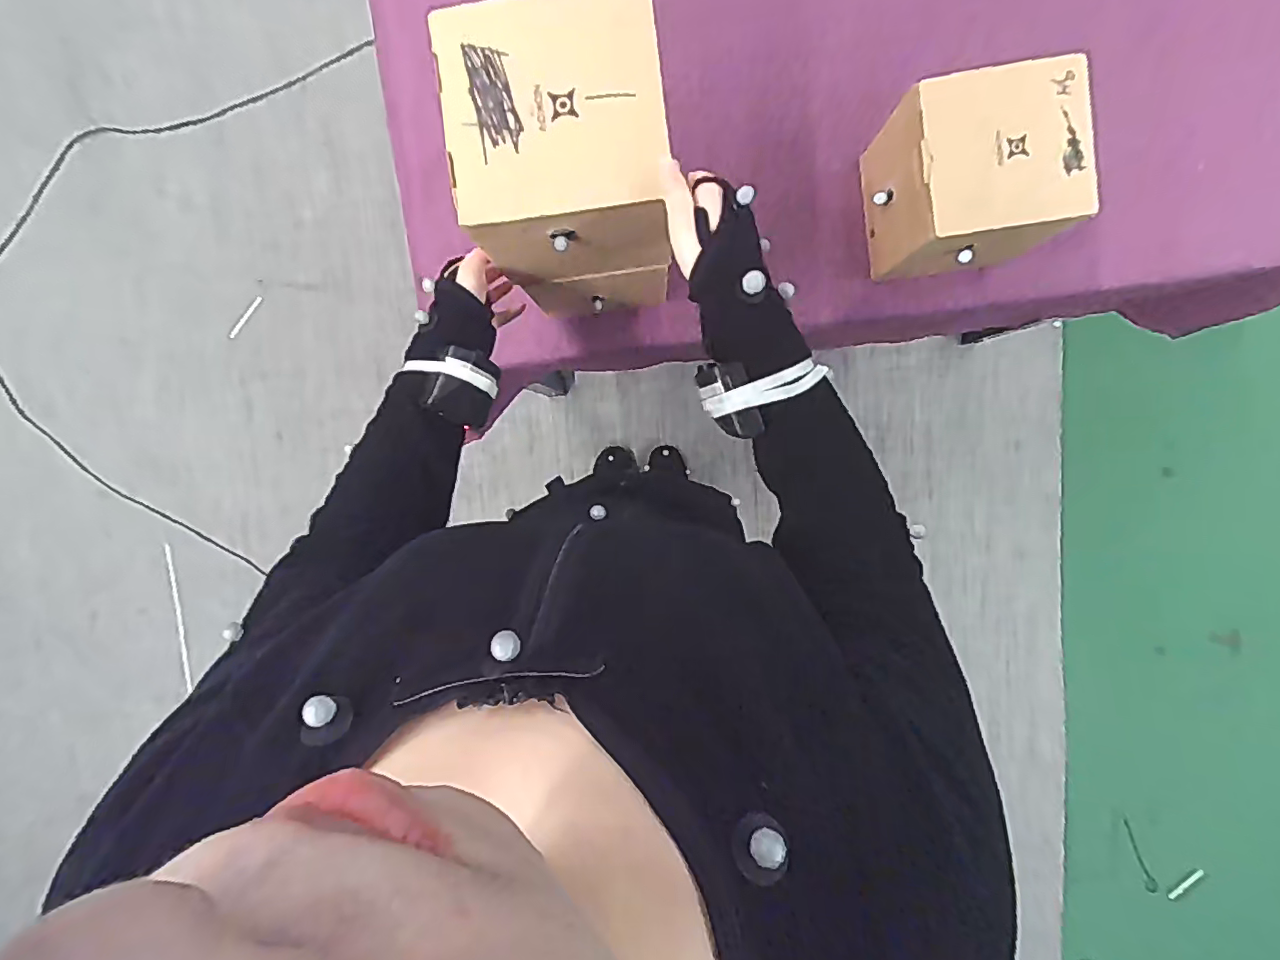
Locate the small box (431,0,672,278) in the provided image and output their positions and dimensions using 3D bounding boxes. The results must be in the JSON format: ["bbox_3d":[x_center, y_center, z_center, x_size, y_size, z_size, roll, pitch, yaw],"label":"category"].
[{"bbox_3d":[-0.065,-0.299,0.500,0.179,0.176,0.168,-7,95,2],"label":"small box"}]

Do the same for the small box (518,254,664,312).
[{"bbox_3d":[-0.059,-0.313,0.664,0.168,0.176,0.179,-6,94,2],"label":"small box"}]

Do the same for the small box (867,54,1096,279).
[{"bbox_3d":[0.387,-0.353,0.645,0.179,0.176,0.168,-7,95,3],"label":"small box"}]
